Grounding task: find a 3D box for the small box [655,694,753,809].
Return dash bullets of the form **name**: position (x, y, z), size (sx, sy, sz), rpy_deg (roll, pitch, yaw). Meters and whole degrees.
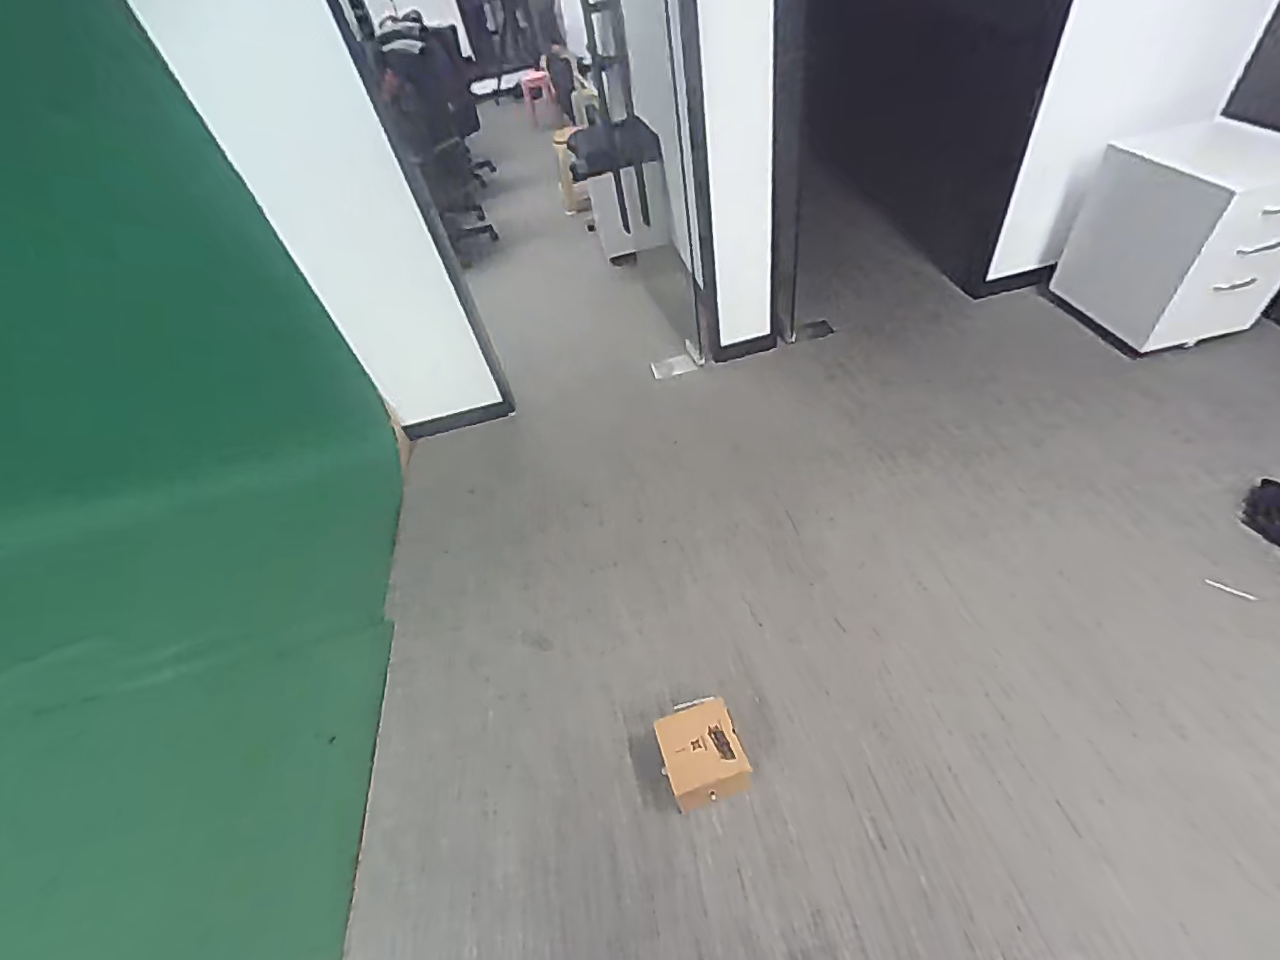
- **small box**: position (0.149, 0.638, 1.269), size (0.179, 0.176, 0.168), rpy_deg (-20, 47, -7)
